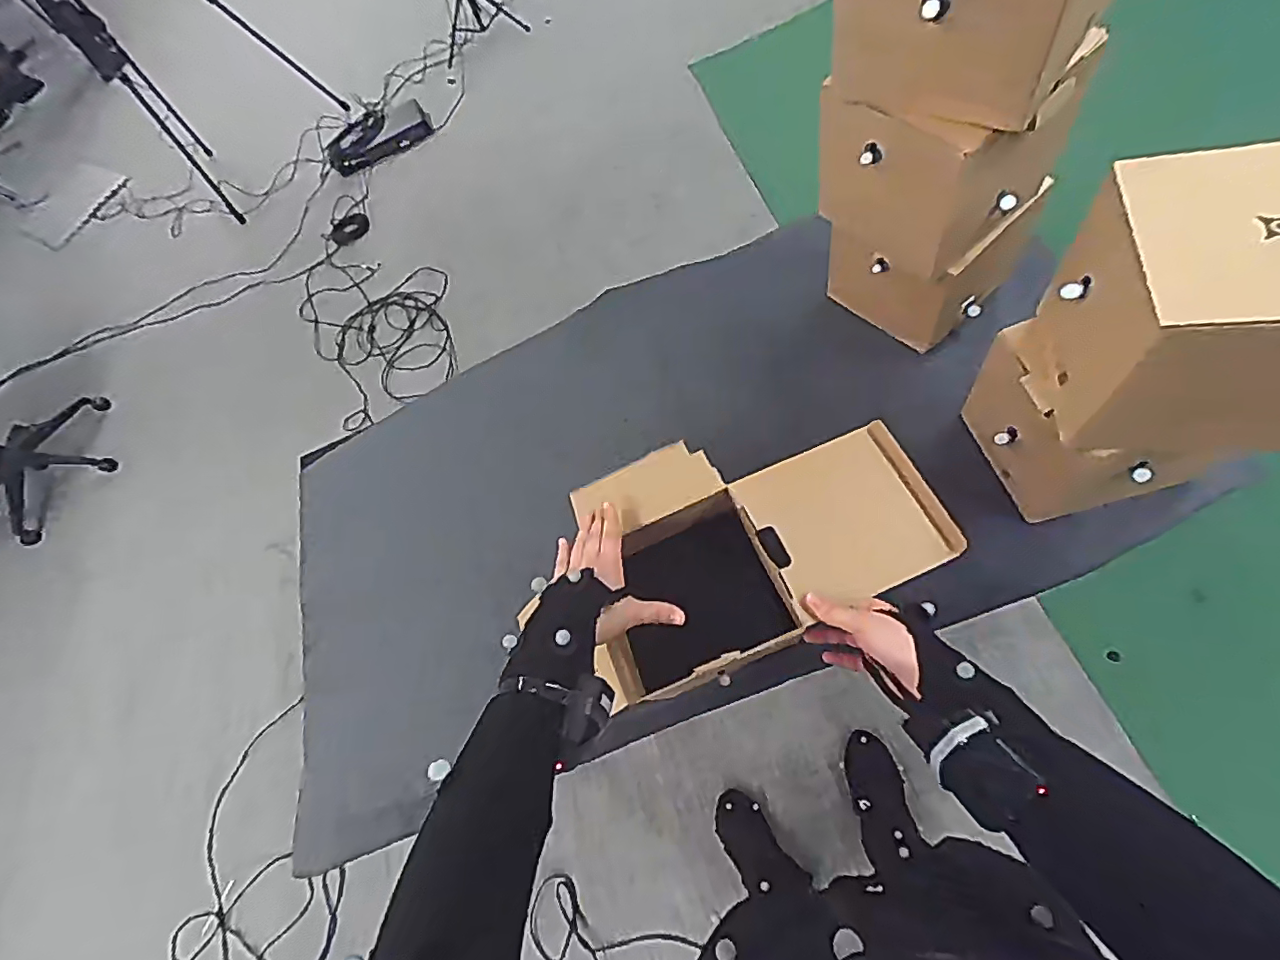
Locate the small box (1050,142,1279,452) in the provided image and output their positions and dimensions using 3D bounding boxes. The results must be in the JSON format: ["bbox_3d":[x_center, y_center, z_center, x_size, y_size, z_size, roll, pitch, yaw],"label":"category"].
[{"bbox_3d":[0.456,-0.132,0.426,0.179,0.176,0.168,2,66,17],"label":"small box"}]

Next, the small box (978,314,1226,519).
[{"bbox_3d":[0.492,-0.077,0.576,0.179,0.176,0.168,-18,61,9],"label":"small box"}]

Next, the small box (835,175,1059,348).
[{"bbox_3d":[0.378,-0.308,0.709,0.168,0.176,0.179,-43,65,-2],"label":"small box"}]

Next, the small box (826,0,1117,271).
[{"bbox_3d":[0.315,-0.358,0.564,0.168,0.176,0.179,-41,63,1],"label":"small box"}]
